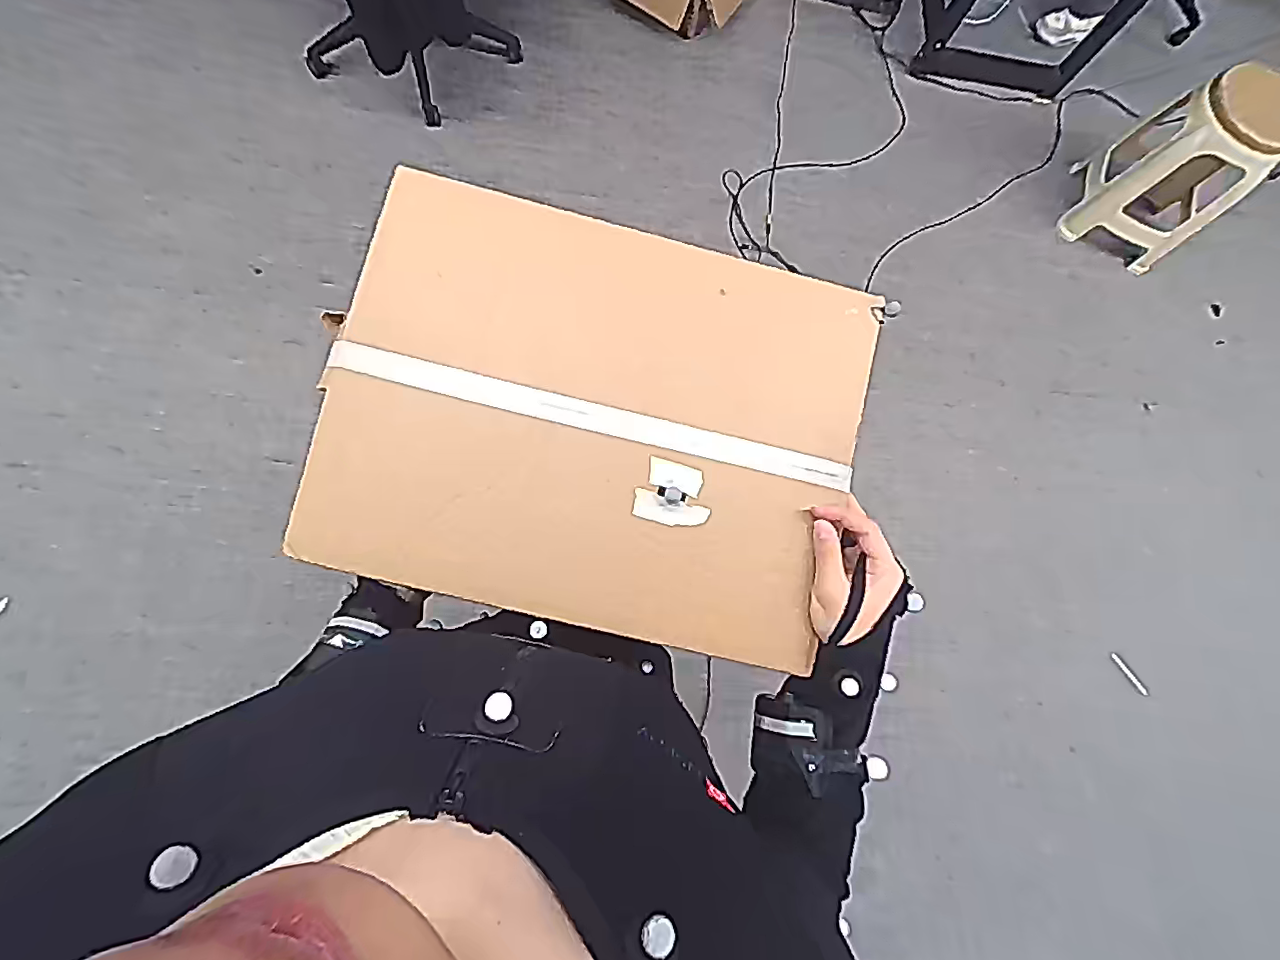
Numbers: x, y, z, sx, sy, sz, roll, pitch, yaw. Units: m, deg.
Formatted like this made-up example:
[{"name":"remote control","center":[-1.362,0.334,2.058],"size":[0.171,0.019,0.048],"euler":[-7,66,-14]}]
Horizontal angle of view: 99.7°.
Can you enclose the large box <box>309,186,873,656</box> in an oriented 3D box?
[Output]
[{"name":"large box","center":[-0.039,-0.035,0.577],"size":[0.408,0.320,0.320],"euler":[13,85,-4]}]
